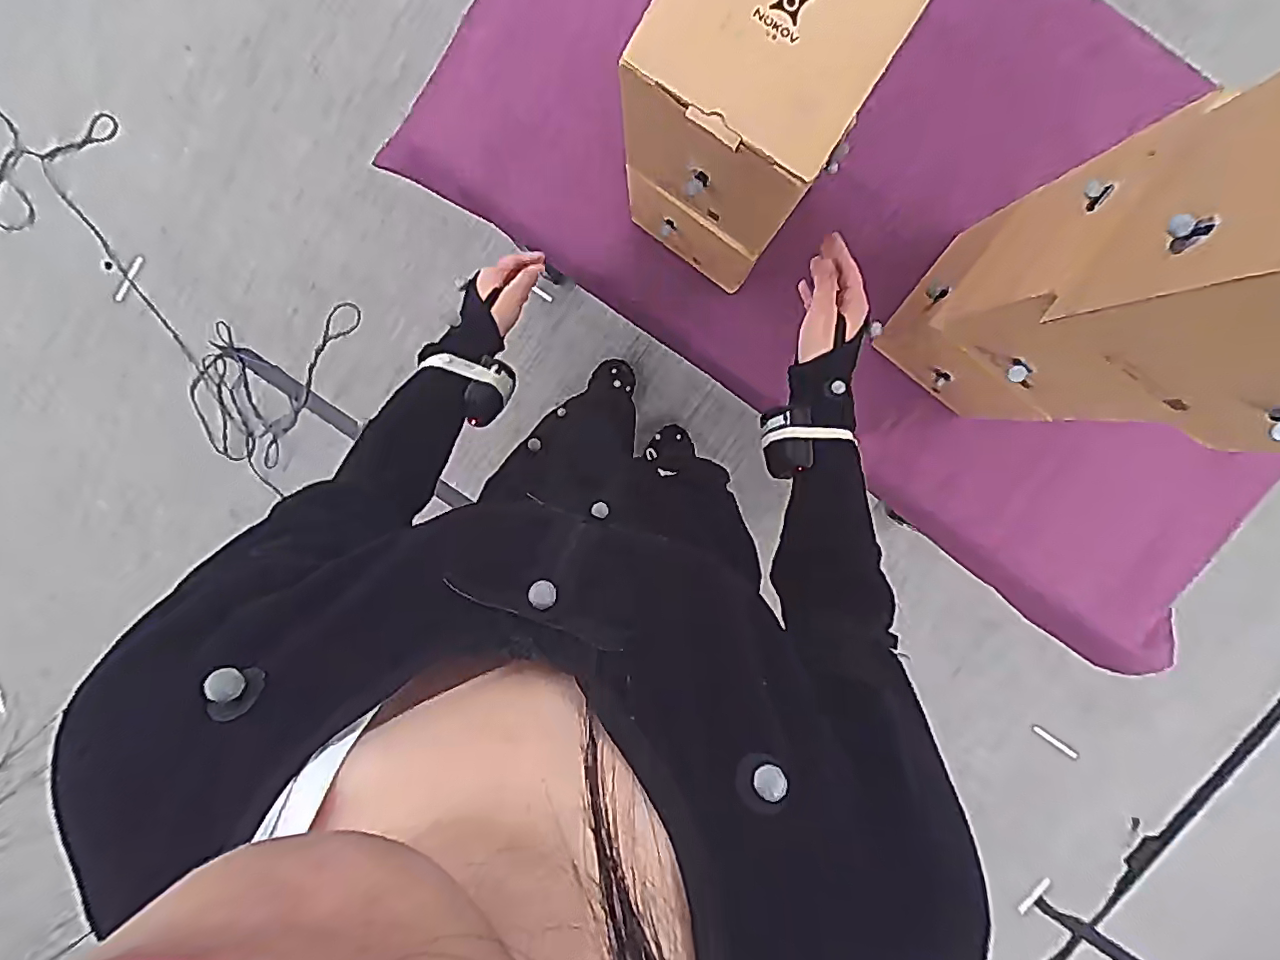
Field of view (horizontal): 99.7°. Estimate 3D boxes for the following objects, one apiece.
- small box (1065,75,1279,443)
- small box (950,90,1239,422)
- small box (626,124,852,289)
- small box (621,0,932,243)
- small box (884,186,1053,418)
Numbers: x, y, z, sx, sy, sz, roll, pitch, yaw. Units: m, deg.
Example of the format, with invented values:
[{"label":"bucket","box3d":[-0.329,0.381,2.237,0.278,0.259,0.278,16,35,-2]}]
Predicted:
[{"label":"small box","box3d":[0.406,-0.129,0.313,0.168,0.176,0.179,34,96,-4]},{"label":"small box","box3d":[0.421,-0.169,0.471,0.168,0.176,0.179,37,97,-3]},{"label":"small box","box3d":[0.102,-0.350,0.621,0.168,0.176,0.179,36,95,-4]},{"label":"small box","box3d":[0.103,-0.336,0.458,0.168,0.176,0.179,33,96,-3]},{"label":"small box","box3d":[0.420,-0.189,0.634,0.168,0.176,0.179,37,96,-4]}]
